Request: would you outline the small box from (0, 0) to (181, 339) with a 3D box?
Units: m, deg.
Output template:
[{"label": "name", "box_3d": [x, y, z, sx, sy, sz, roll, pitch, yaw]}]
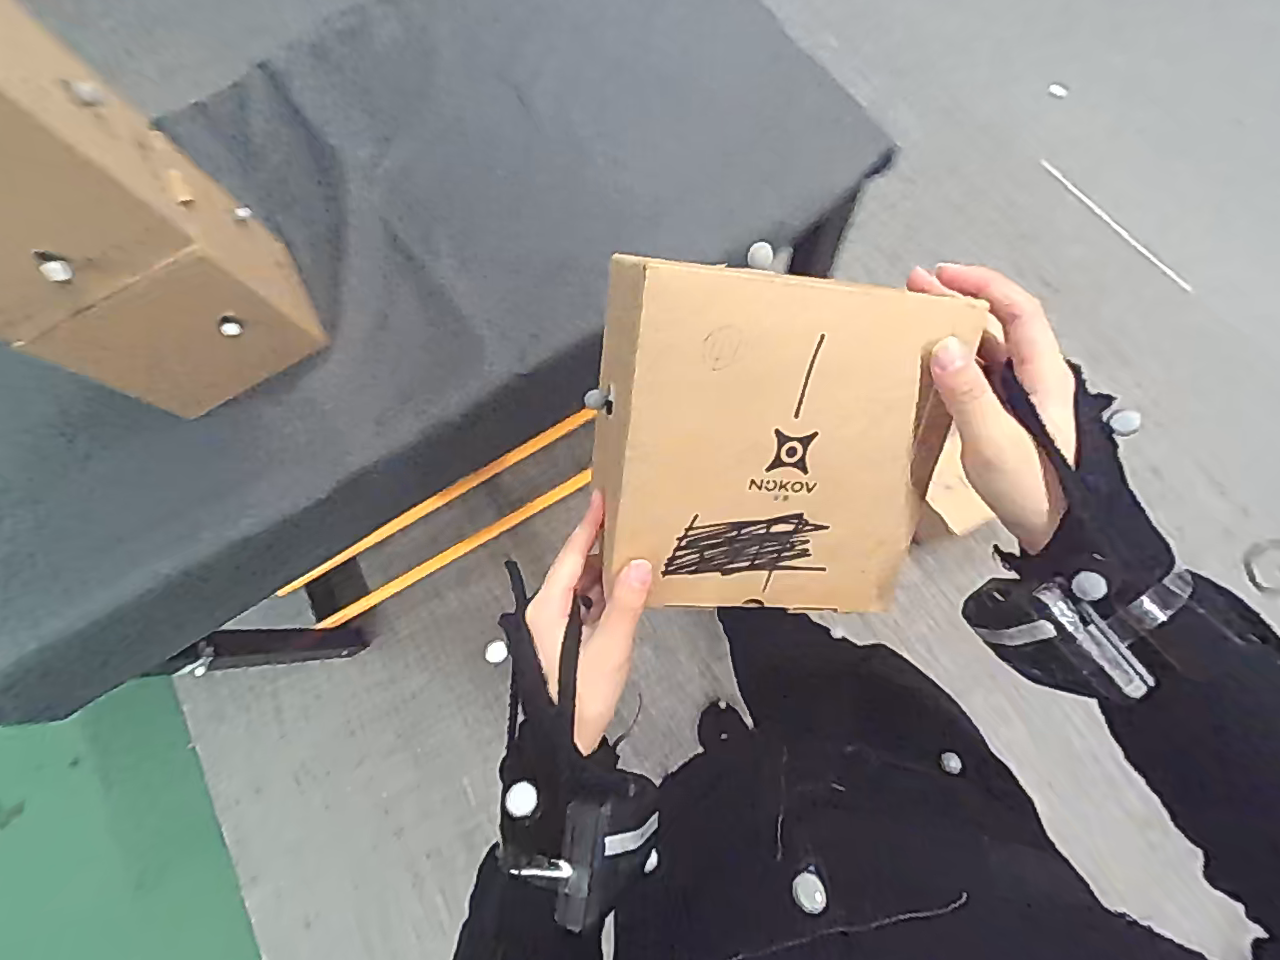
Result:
[{"label": "small box", "box_3d": [-0.498, -0.244, 0.406, 0.179, 0.176, 0.168, -32, 73, -4]}]

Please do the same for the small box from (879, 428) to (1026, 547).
[{"label": "small box", "box_3d": [0.642, 0.023, 1.136, 0.179, 0.176, 0.168, -30, 73, -2]}]

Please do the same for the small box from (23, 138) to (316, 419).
[{"label": "small box", "box_3d": [-0.476, -0.194, 0.561, 0.179, 0.176, 0.168, -31, 72, -2]}]
